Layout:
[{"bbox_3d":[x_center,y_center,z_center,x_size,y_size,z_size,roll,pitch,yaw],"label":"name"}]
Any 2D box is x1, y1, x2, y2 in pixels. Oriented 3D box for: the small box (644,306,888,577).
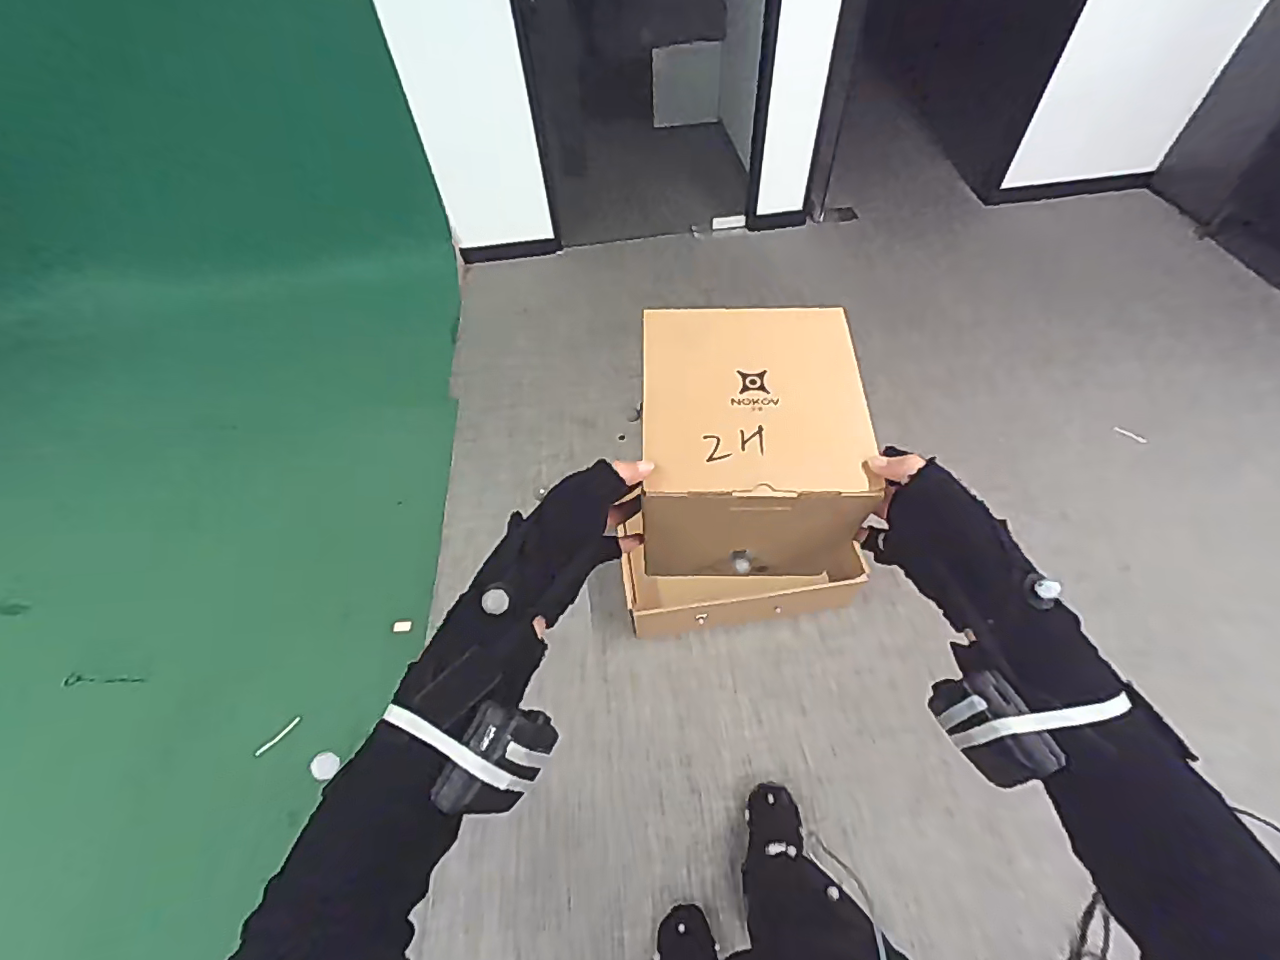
[{"bbox_3d":[0.088,-0.028,0.472,0.168,0.176,0.179,0,61,2],"label":"small box"}]
